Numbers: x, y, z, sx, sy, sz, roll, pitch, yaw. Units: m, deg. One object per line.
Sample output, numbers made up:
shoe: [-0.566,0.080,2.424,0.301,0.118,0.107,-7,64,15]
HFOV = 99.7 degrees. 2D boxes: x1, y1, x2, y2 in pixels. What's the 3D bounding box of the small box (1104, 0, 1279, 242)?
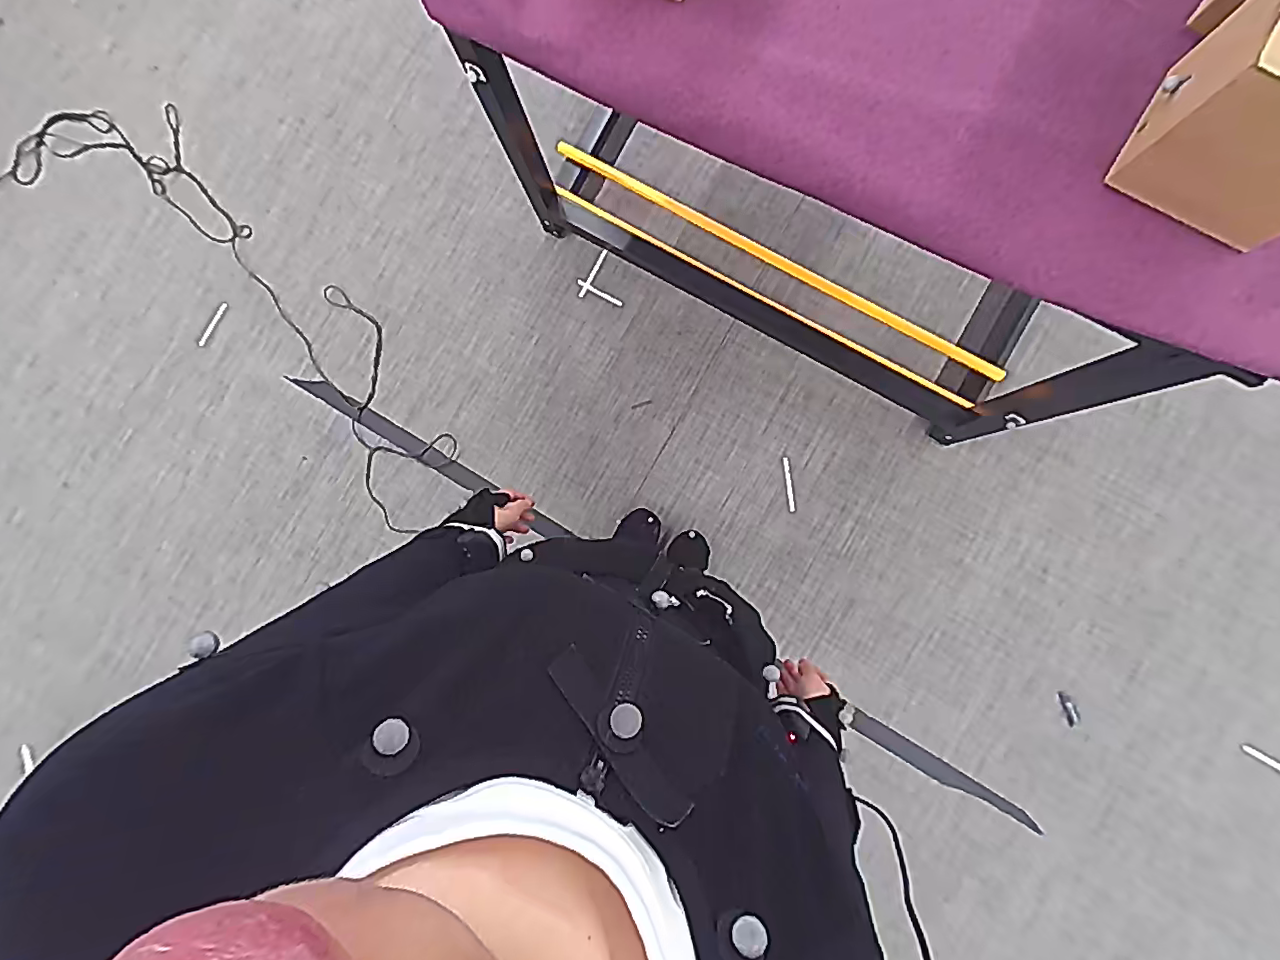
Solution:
small box: [0.652,-0.378,0.553,0.179,0.176,0.168,32,88,6]
